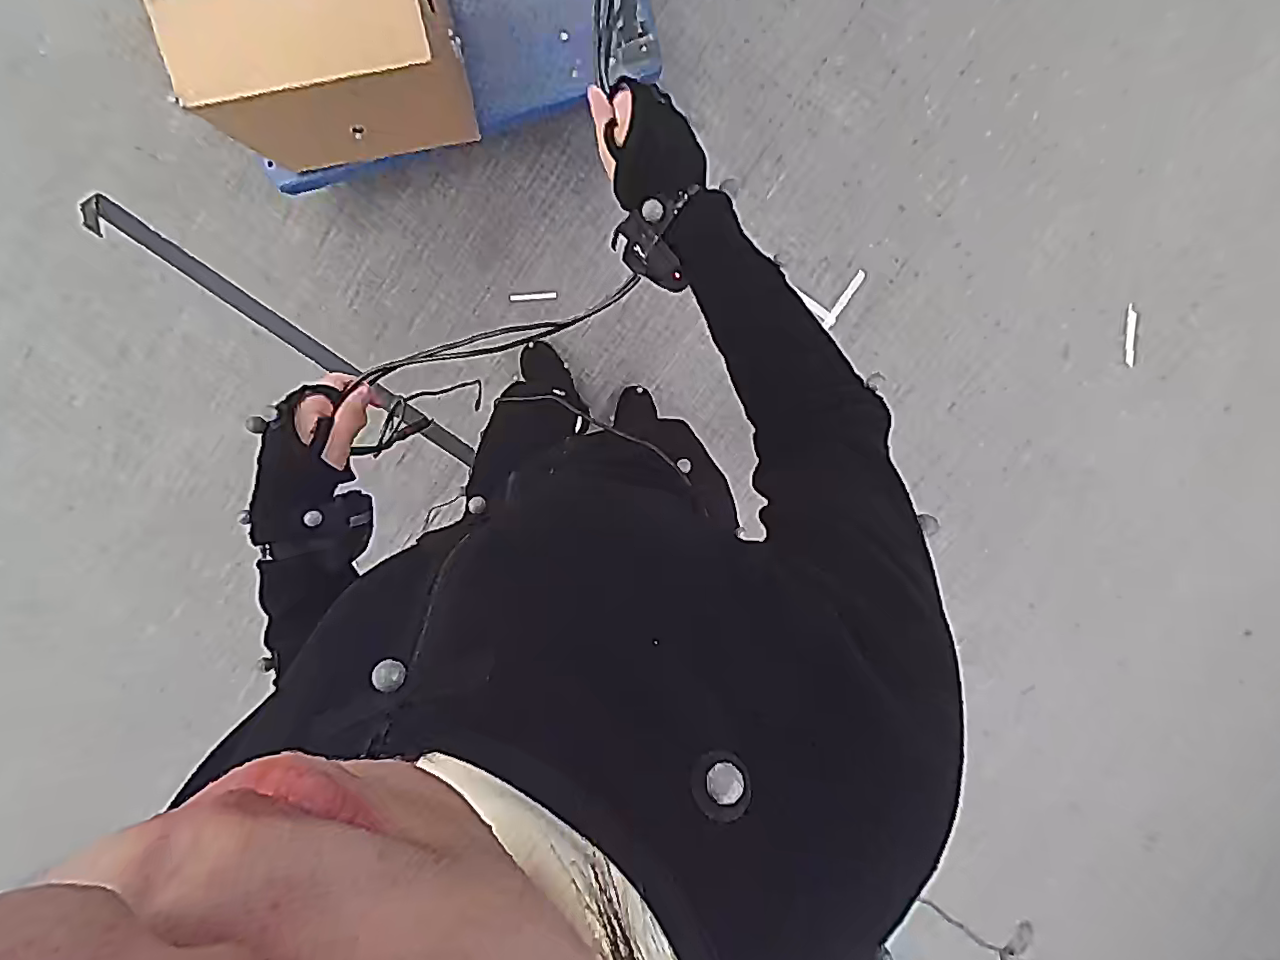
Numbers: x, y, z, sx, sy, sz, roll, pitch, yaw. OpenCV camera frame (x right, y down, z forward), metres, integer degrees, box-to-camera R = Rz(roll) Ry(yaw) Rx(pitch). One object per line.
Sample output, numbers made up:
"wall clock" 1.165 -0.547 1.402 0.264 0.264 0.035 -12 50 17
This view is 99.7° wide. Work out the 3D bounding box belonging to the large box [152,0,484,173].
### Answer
"large box" -0.539 -0.786 0.953 0.408 0.320 0.320 -10 102 1
